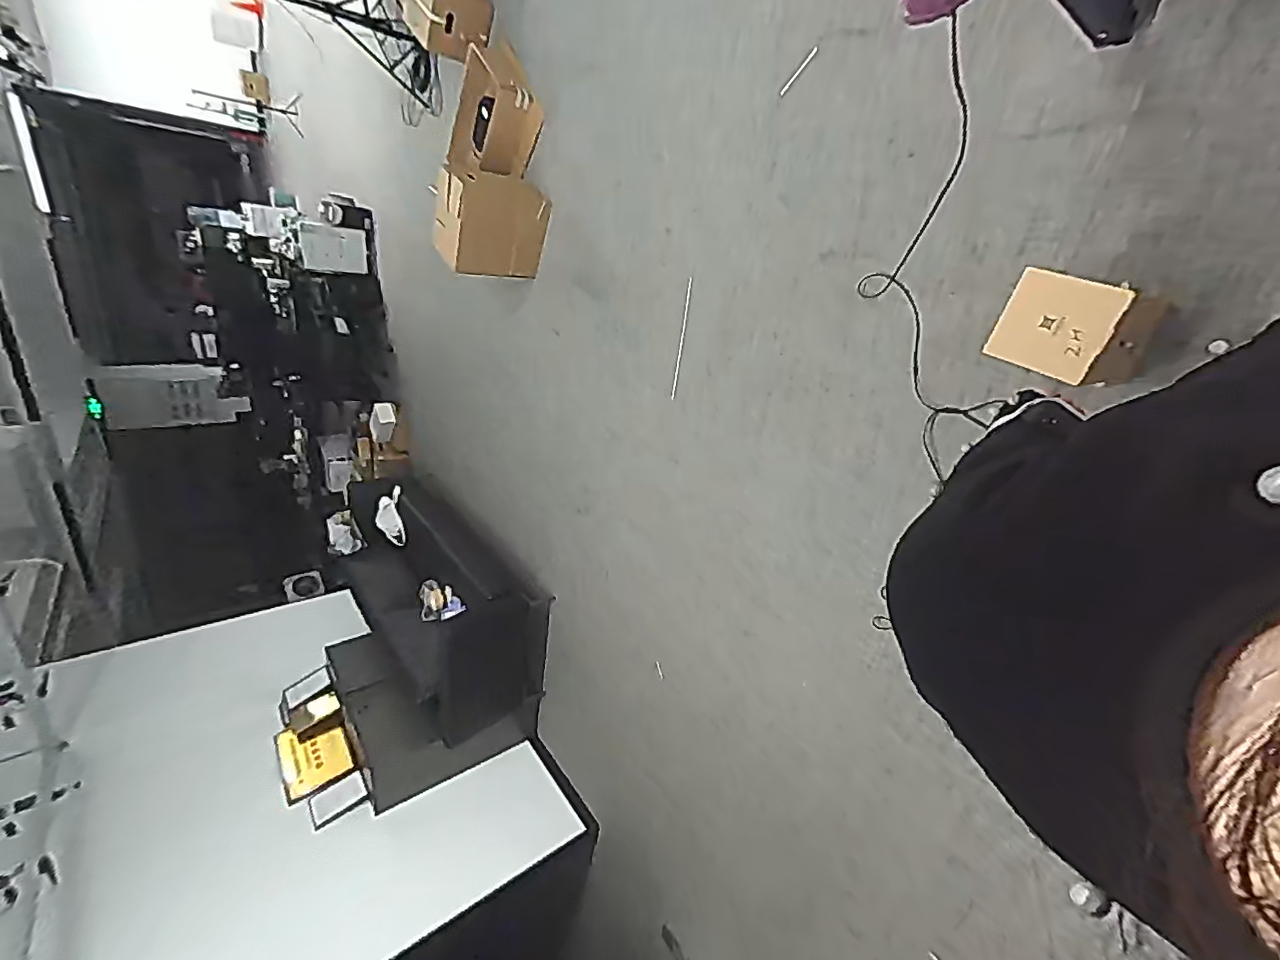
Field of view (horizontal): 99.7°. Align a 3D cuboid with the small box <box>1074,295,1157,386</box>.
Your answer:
[{"bbox_3d":[0.930,-0.309,1.130,0.168,0.176,0.179,36,125,40],"label":"small box"}]

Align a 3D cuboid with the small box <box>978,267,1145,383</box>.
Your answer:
[{"bbox_3d":[0.800,-0.294,1.030,0.179,0.176,0.168,39,128,38],"label":"small box"}]
